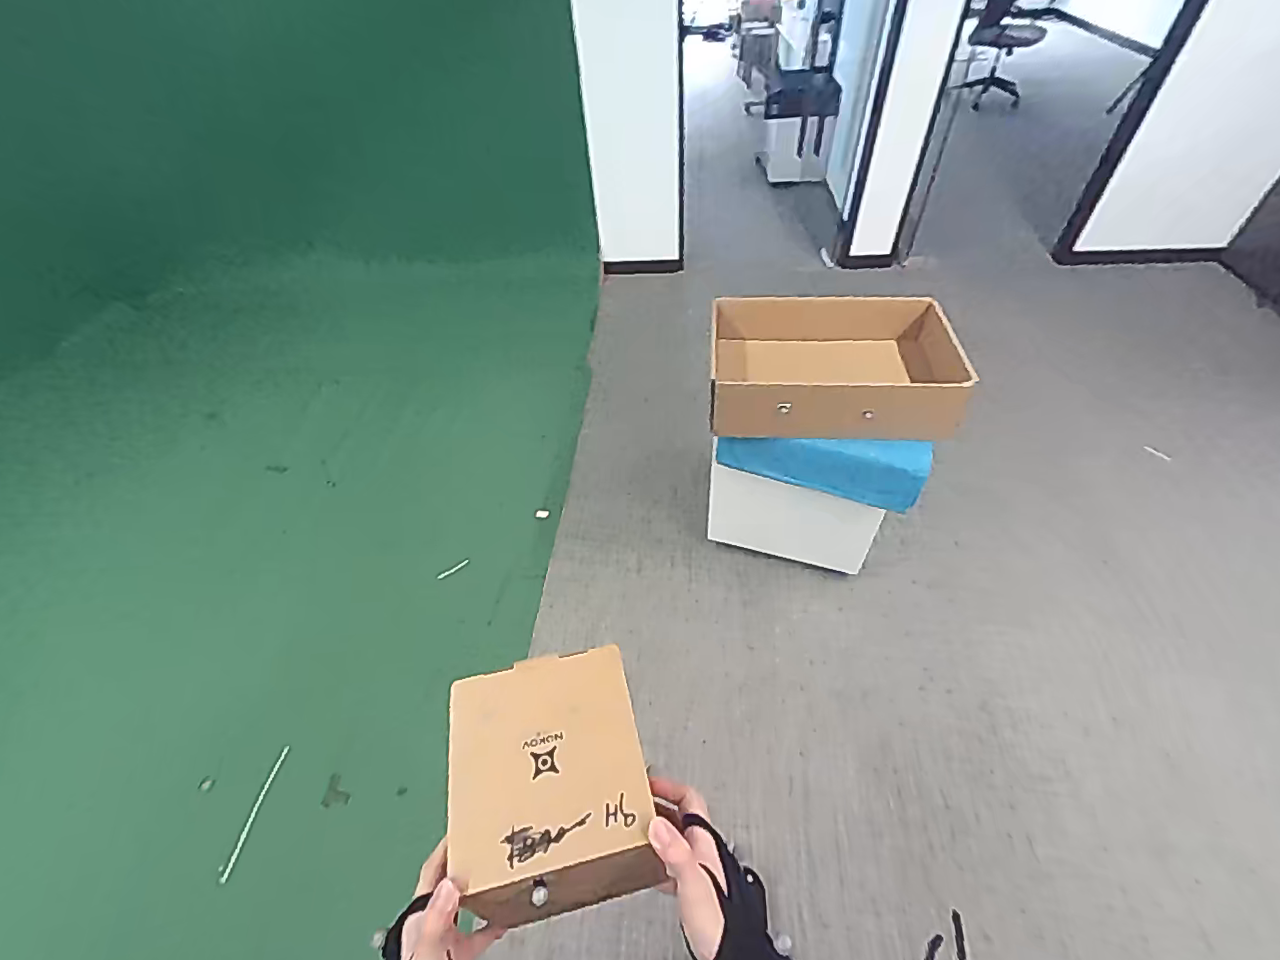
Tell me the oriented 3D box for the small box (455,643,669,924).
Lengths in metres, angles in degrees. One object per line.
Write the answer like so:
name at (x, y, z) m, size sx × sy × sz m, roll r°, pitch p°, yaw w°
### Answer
small box at (-0.070, 0.292, 0.527) m, size 0.168 × 0.176 × 0.179 m, roll -10°, pitch 43°, yaw -6°
